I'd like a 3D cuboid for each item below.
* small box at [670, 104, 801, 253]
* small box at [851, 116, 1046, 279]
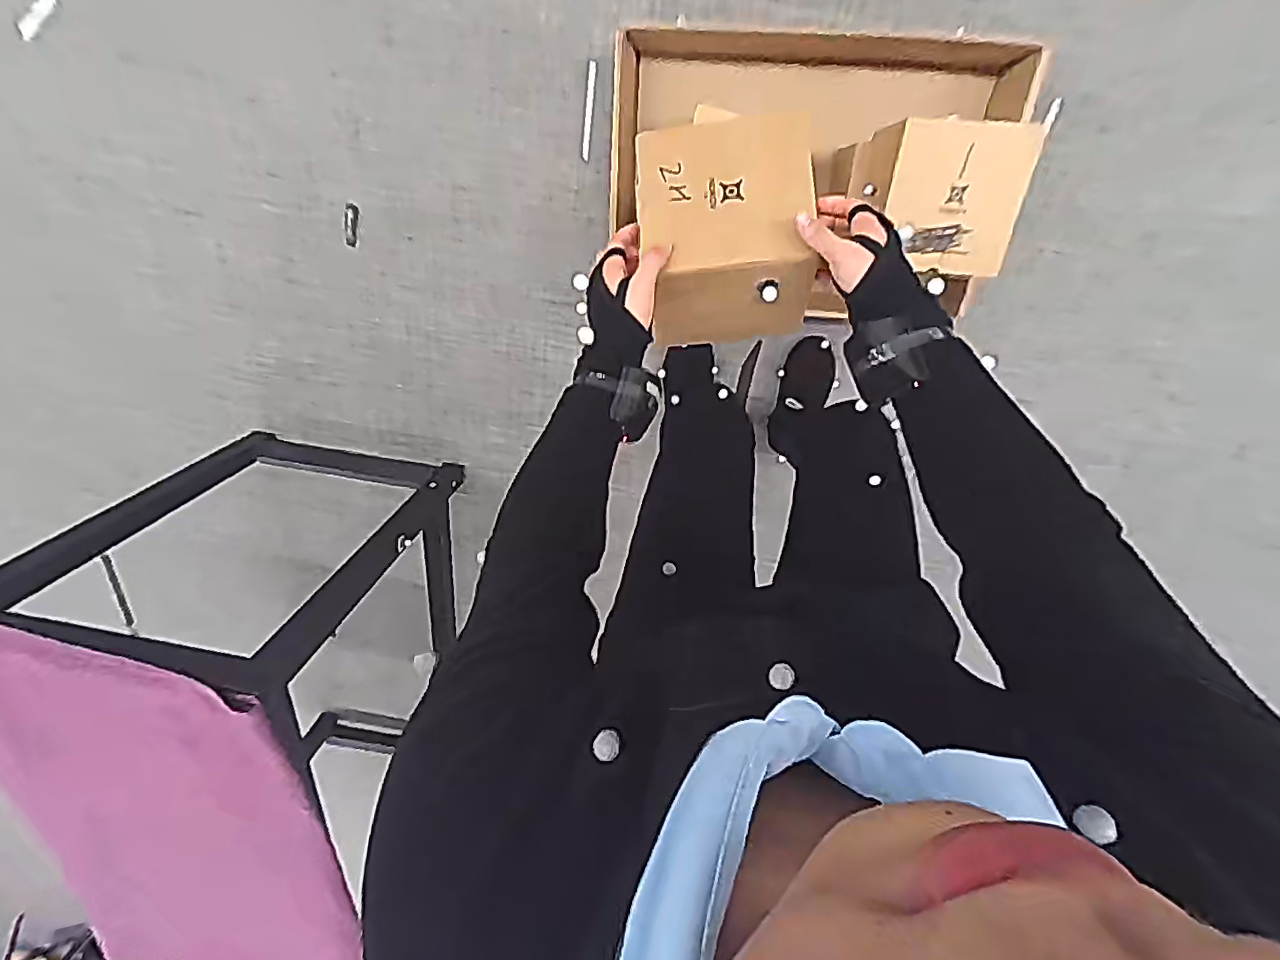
[{"bbox_3d":[0.152,-0.506,0.919,0.168,0.176,0.179,15,119,-2],"label":"small box"},{"bbox_3d":[0.407,-0.390,0.755,0.168,0.176,0.179,7,117,5],"label":"small box"}]
